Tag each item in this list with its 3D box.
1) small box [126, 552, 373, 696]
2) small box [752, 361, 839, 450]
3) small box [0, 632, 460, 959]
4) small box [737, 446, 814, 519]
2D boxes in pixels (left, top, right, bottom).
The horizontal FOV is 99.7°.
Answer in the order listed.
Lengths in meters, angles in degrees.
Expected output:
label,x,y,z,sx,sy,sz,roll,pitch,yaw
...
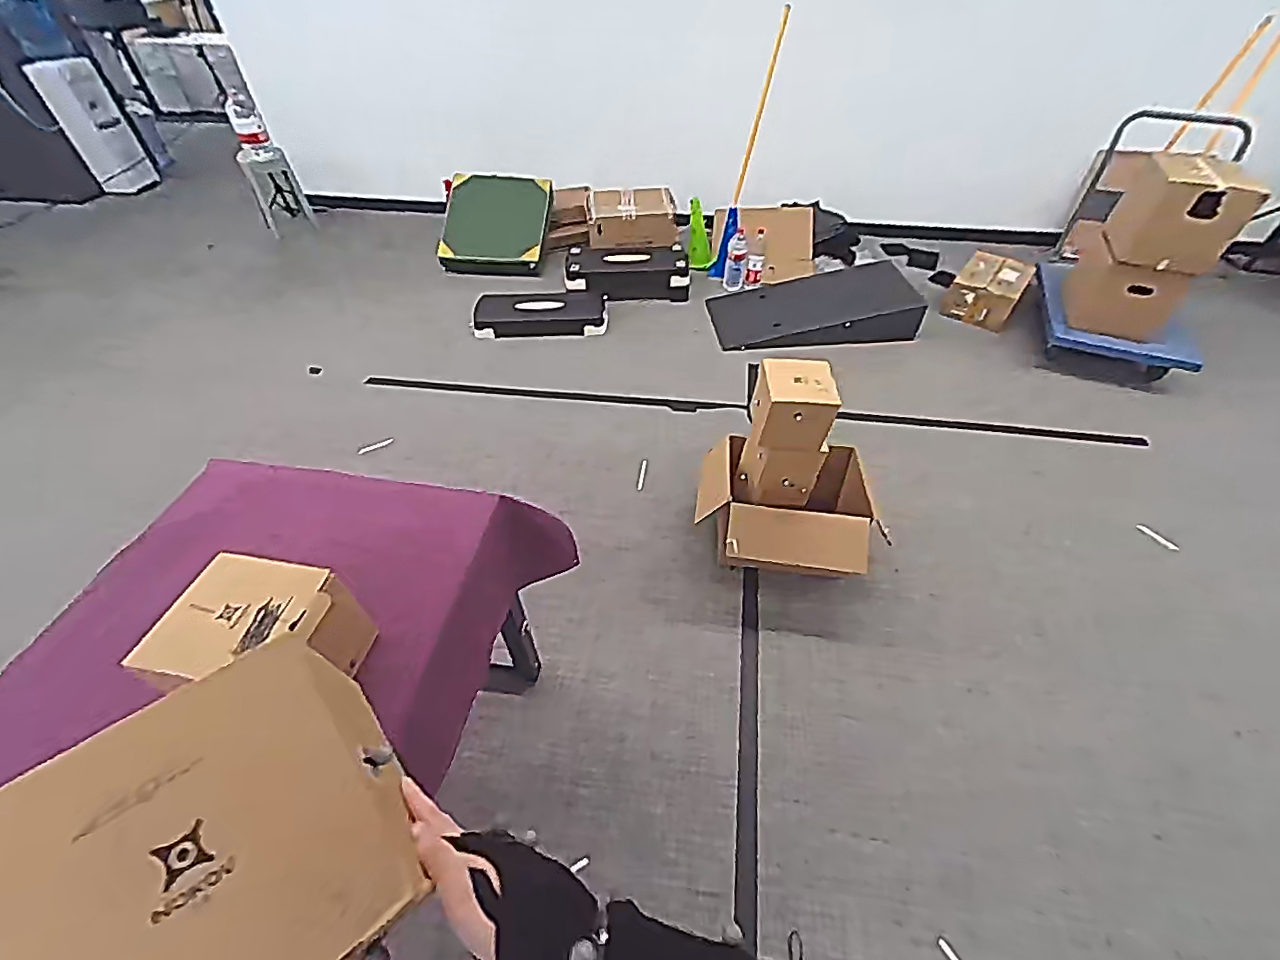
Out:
label,x,y,z,sx,sy,sz,roll,pitch,yaw
small box,-0.501,0.224,0.730,0.179,0.176,0.168,8,47,9
small box,0.397,-0.194,1.424,0.179,0.176,0.168,3,51,-2
small box,-0.233,0.233,0.345,0.168,0.176,0.179,-29,68,-26
small box,0.412,0.004,1.689,0.179,0.176,0.168,-8,51,-11
